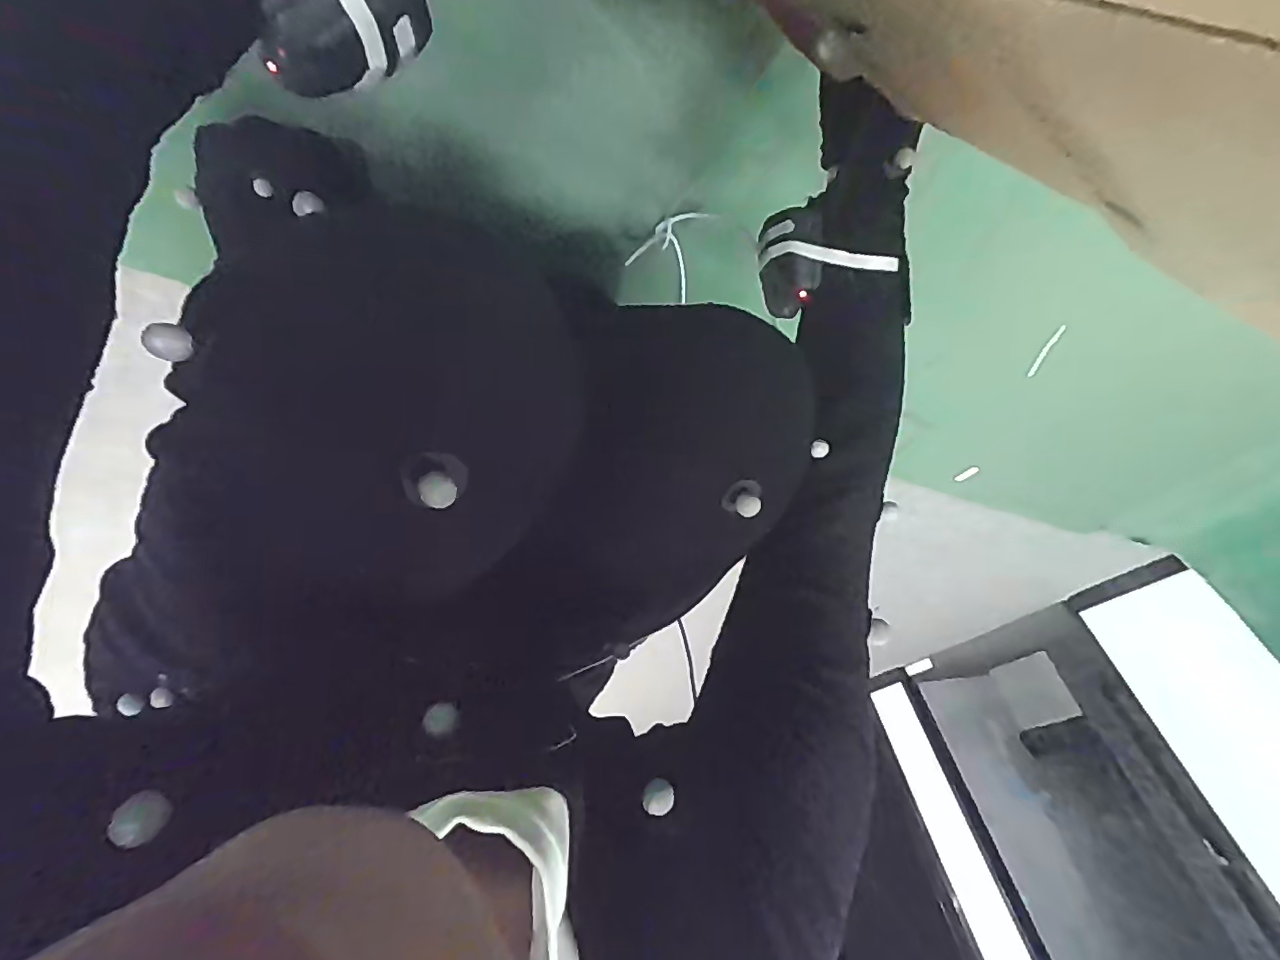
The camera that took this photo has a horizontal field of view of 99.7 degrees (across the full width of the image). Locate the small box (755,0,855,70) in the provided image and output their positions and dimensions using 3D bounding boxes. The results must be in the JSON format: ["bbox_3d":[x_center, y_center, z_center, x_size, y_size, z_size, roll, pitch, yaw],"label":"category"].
[{"bbox_3d":[0.110,-0.348,0.262,0.168,0.176,0.179,14,133,-34],"label":"small box"}]

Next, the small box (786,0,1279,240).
[{"bbox_3d":[0.146,-0.220,0.165,0.168,0.176,0.179,11,134,-32],"label":"small box"}]
